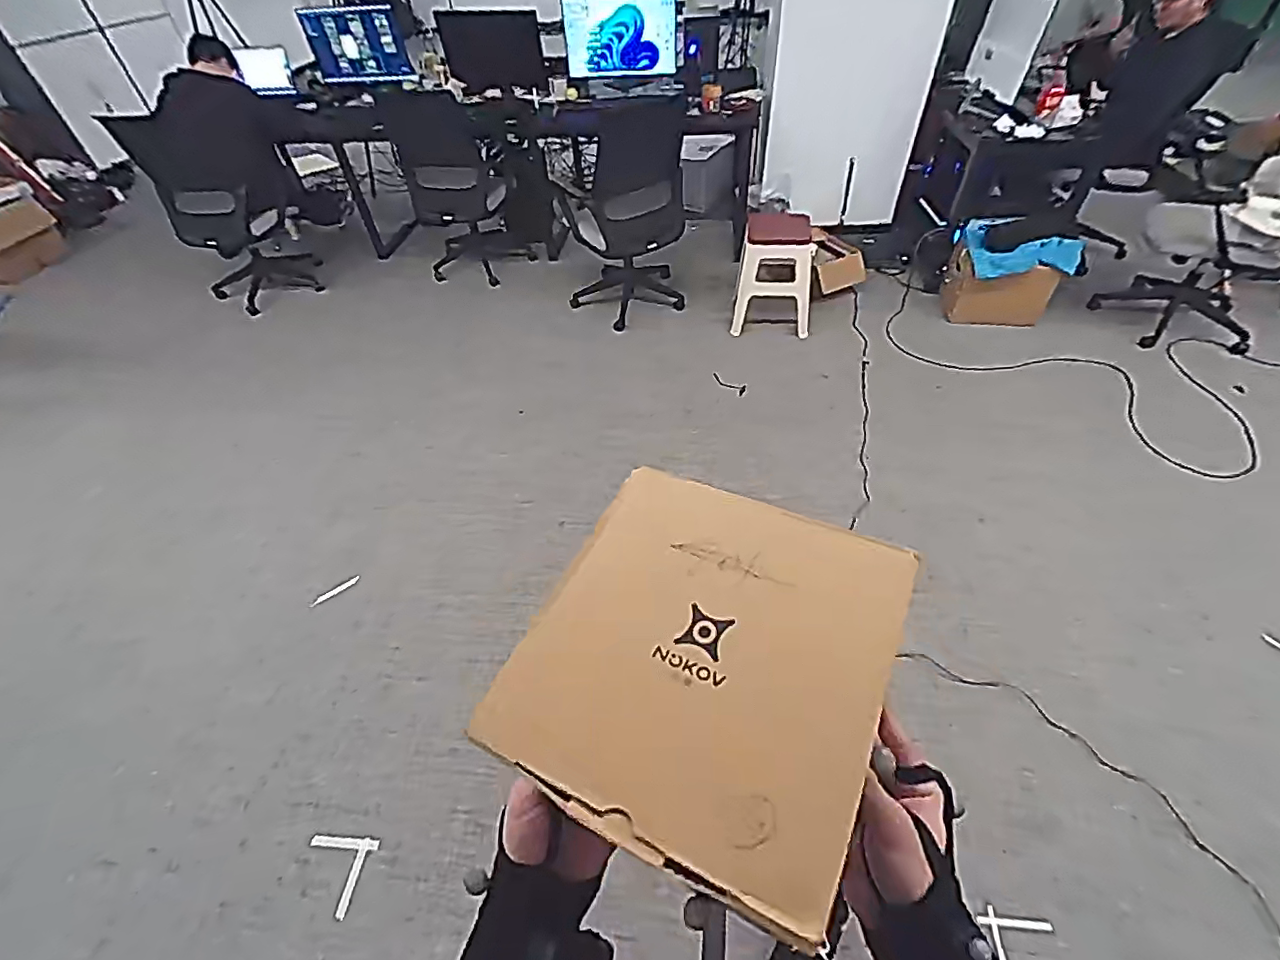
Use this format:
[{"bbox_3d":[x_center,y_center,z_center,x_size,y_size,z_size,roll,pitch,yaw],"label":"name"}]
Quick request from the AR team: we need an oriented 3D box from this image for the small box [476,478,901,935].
[{"bbox_3d":[0.040,0.133,0.333,0.168,0.176,0.179,17,56,22],"label":"small box"}]
